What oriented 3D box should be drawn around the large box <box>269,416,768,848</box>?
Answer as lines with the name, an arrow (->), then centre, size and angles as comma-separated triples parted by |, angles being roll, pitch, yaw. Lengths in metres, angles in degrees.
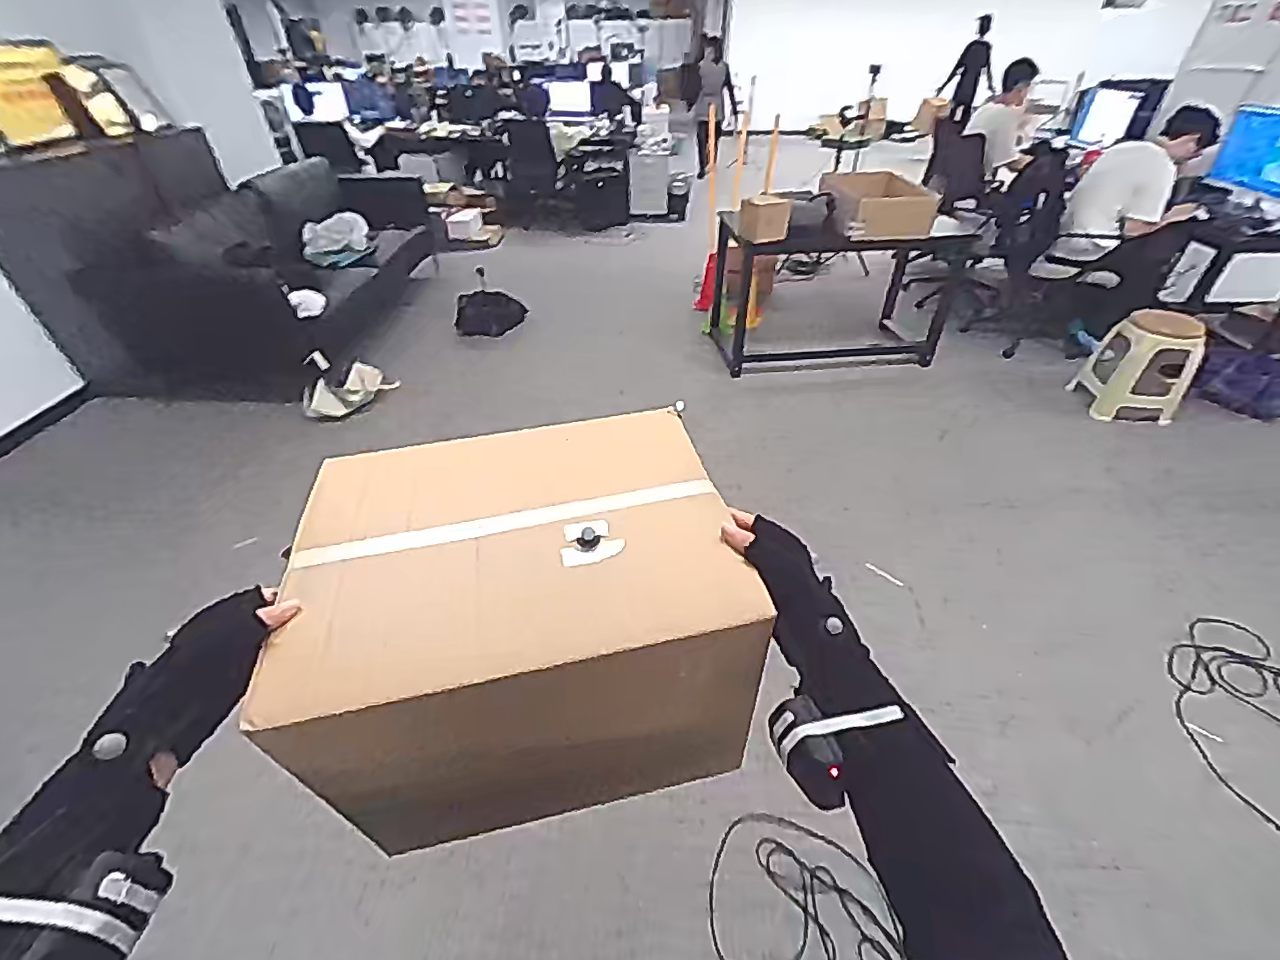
large box -> -0.113, 0.162, 0.632 | 0.408, 0.320, 0.320 | -9, 42, -9
